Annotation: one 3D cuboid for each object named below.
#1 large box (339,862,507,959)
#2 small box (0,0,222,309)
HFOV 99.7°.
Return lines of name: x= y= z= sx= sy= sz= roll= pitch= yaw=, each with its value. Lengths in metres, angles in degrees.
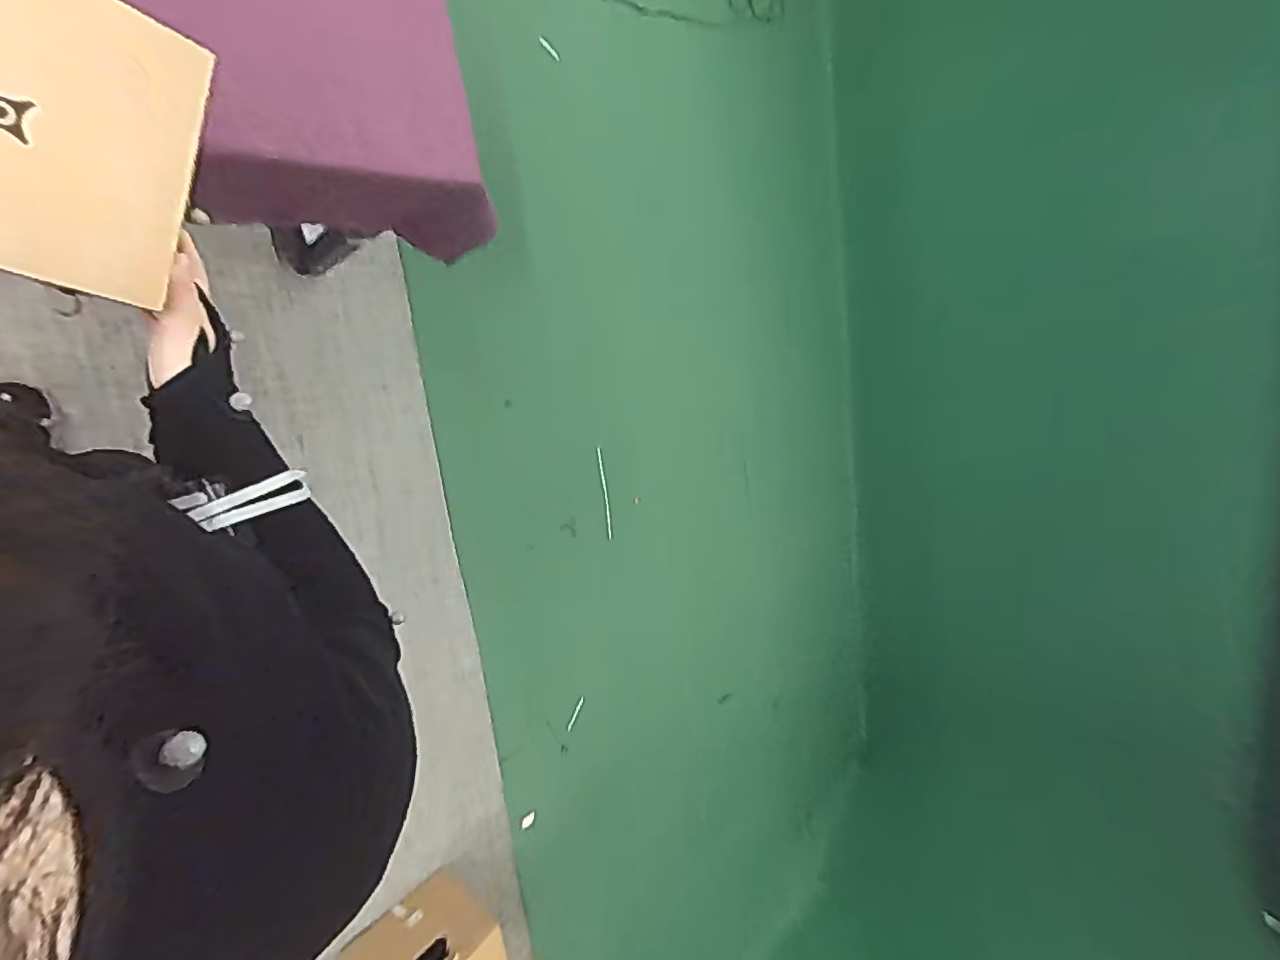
large box: x=-0.581 y=1.408 z=1.511 sx=0.320 sy=0.320 sz=0.408 roll=-20 pitch=108 yaw=-46
small box: x=-0.400 y=-0.222 z=0.347 sx=0.179 sy=0.176 sz=0.168 roll=11 pitch=96 yaw=-43
